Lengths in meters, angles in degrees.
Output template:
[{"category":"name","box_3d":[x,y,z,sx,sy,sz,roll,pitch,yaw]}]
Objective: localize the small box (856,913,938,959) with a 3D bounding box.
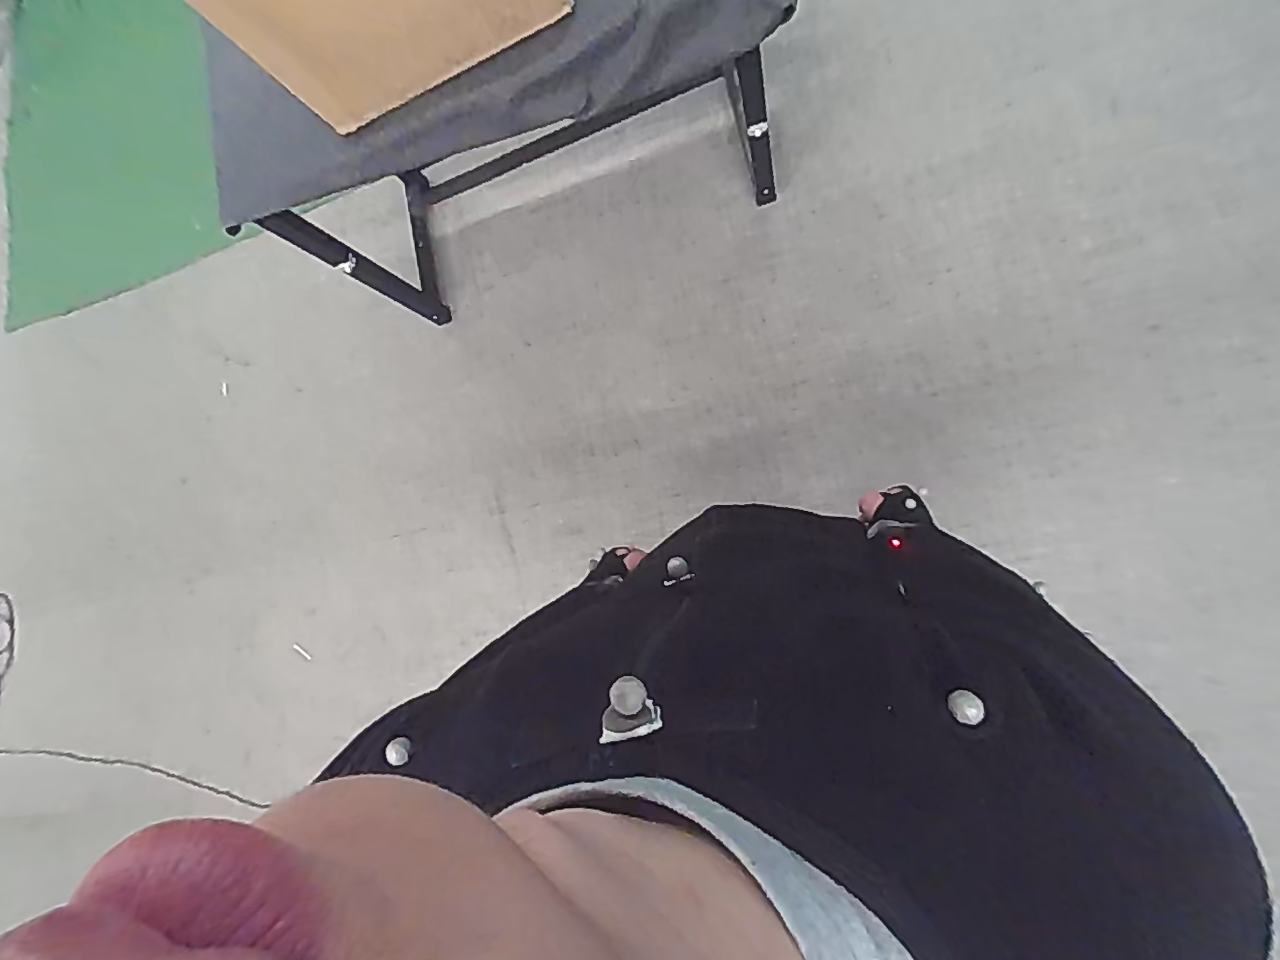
[{"category":"small box","box_3d":[0.617,1.160,1.254,0.168,0.176,0.179,-19,79,13]}]
